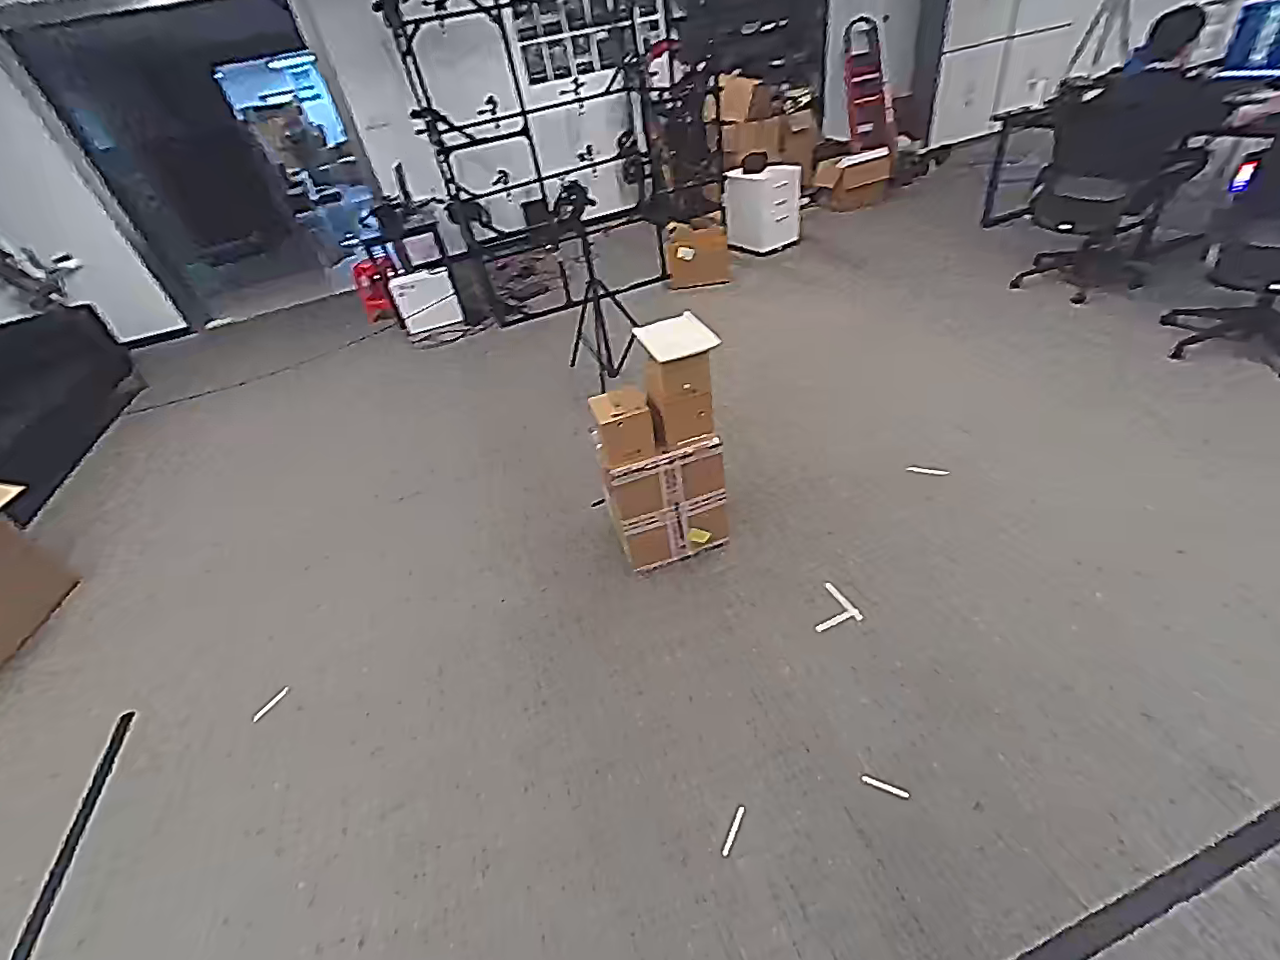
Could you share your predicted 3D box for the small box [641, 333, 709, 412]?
[{"bbox_3d":[0.110,-0.343,1.724,0.168,0.176,0.179,-17,40,-10],"label":"small box"}]
